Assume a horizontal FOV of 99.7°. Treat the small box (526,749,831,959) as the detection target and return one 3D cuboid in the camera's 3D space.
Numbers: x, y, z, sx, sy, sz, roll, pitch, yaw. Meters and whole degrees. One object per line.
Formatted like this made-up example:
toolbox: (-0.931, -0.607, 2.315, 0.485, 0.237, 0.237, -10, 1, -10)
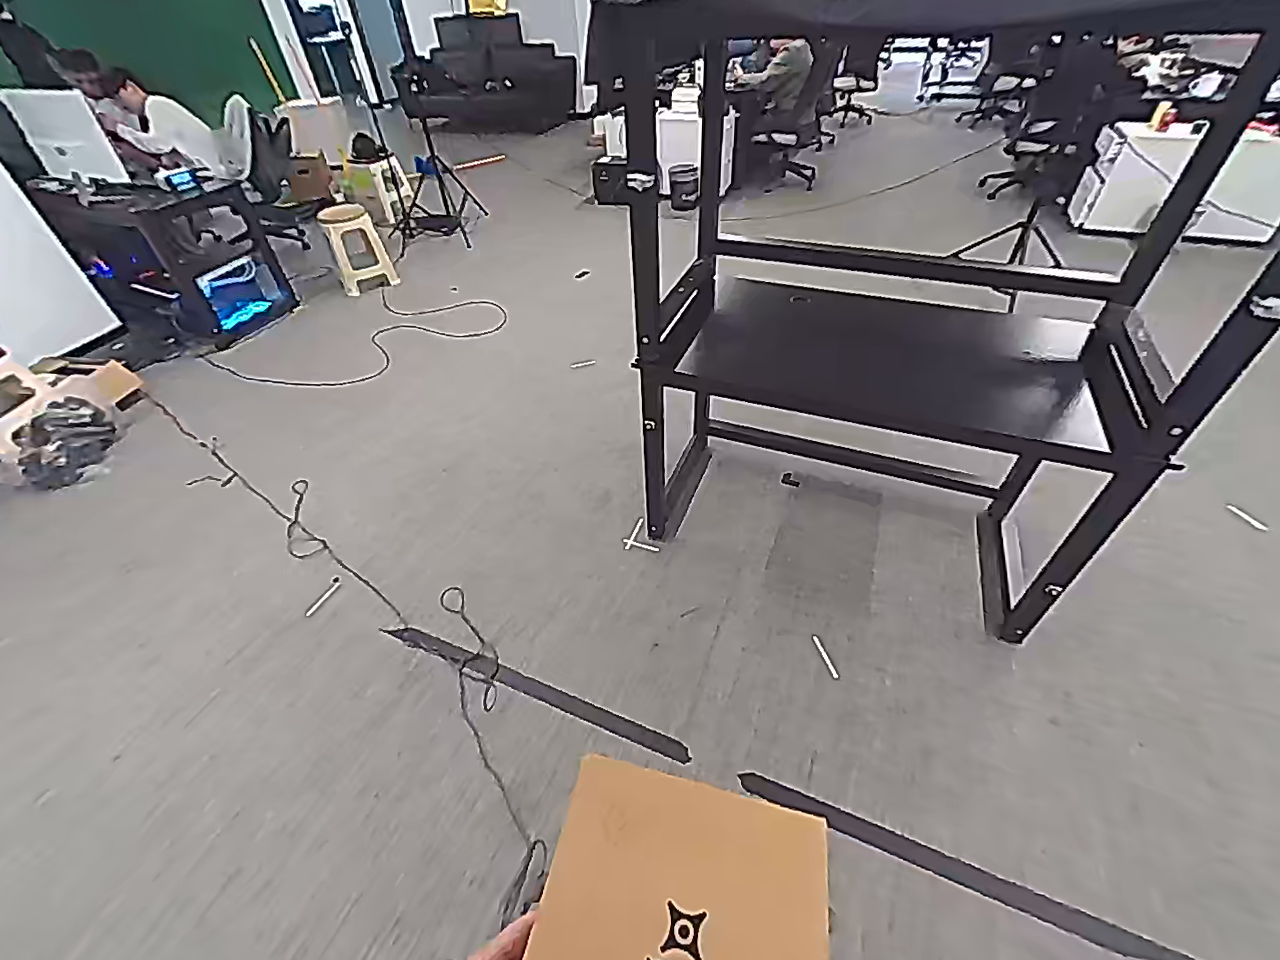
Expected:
small box: (0.018, 0.315, 0.355, 0.168, 0.176, 0.179, 12, 44, 8)
